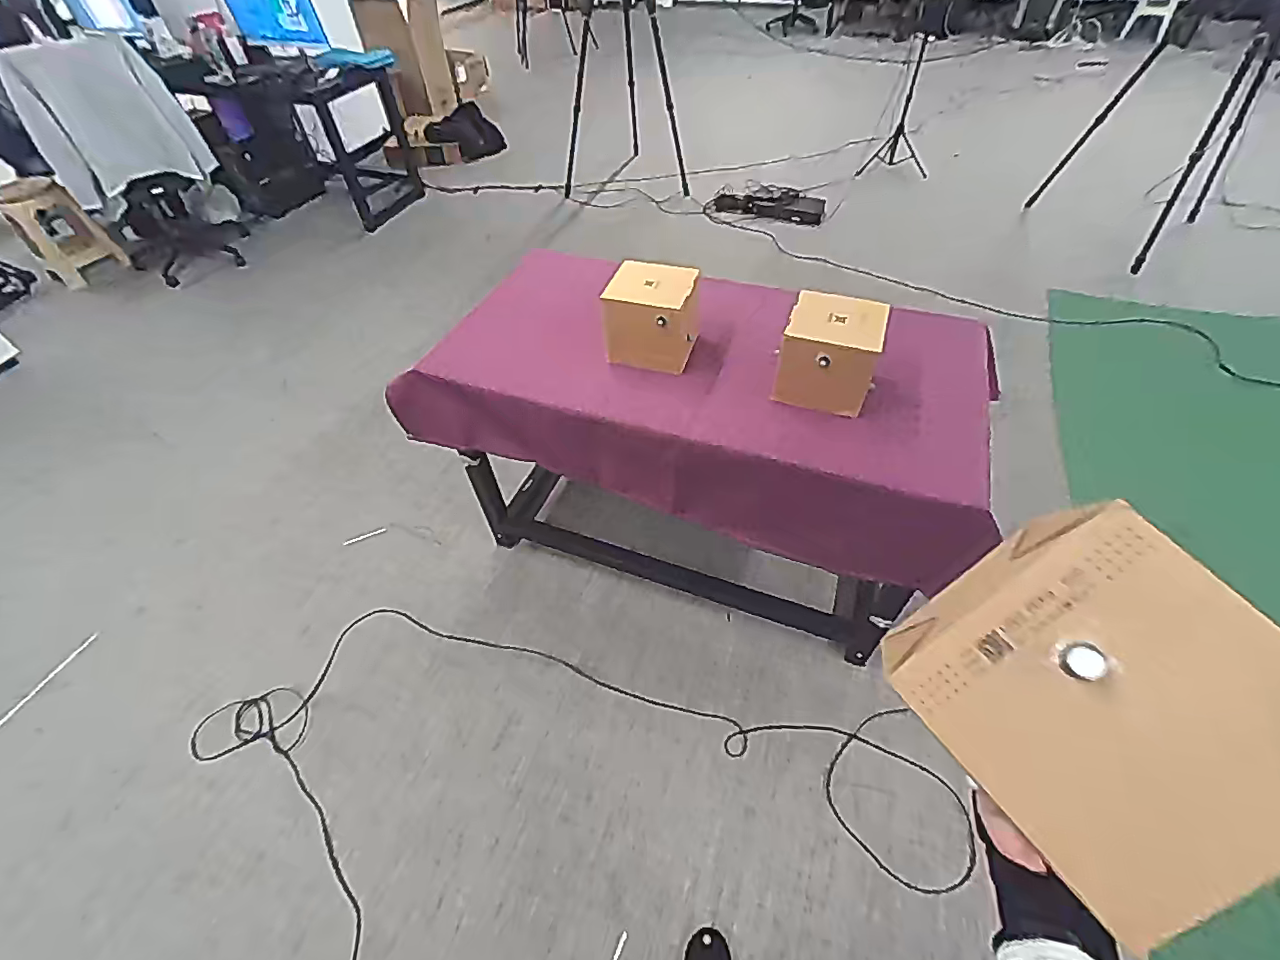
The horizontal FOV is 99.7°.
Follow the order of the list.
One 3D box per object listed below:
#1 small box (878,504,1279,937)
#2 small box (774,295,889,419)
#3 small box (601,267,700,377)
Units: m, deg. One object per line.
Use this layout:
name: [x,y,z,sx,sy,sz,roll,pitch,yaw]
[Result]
small box: [0.285,0.134,0.368,0.168,0.179,0.176,-46,67,11]
small box: [0.379,-0.245,1.089,0.179,0.176,0.168,16,52,16]
small box: [0.027,-0.349,1.203,0.179,0.176,0.168,12,51,13]
